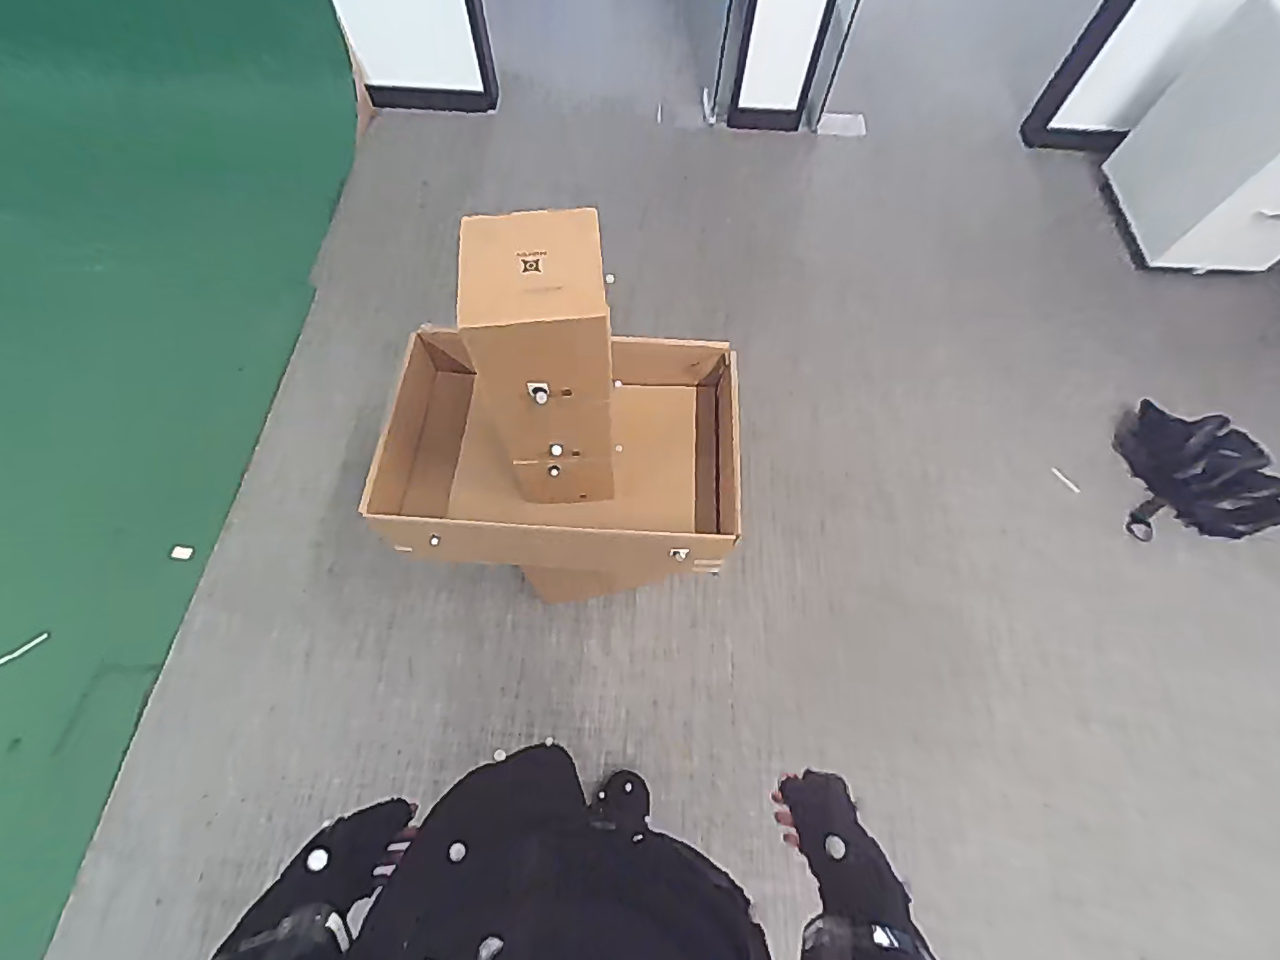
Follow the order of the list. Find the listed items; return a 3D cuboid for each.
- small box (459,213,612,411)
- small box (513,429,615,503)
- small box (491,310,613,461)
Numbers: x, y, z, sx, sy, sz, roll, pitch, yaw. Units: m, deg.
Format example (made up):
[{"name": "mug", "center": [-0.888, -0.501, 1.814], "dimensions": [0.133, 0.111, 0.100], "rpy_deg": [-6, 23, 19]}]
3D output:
[{"name": "small box", "center": [-0.128, -0.213, 0.704], "dimensions": [0.168, 0.176, 0.179], "rpy_deg": [-6, 66, -3]}, {"name": "small box", "center": [-0.133, -0.073, 0.998], "dimensions": [0.168, 0.176, 0.179], "rpy_deg": [-3, 64, -2]}, {"name": "small box", "center": [-0.129, -0.146, 0.851], "dimensions": [0.168, 0.176, 0.179], "rpy_deg": [-2, 65, -2]}]
